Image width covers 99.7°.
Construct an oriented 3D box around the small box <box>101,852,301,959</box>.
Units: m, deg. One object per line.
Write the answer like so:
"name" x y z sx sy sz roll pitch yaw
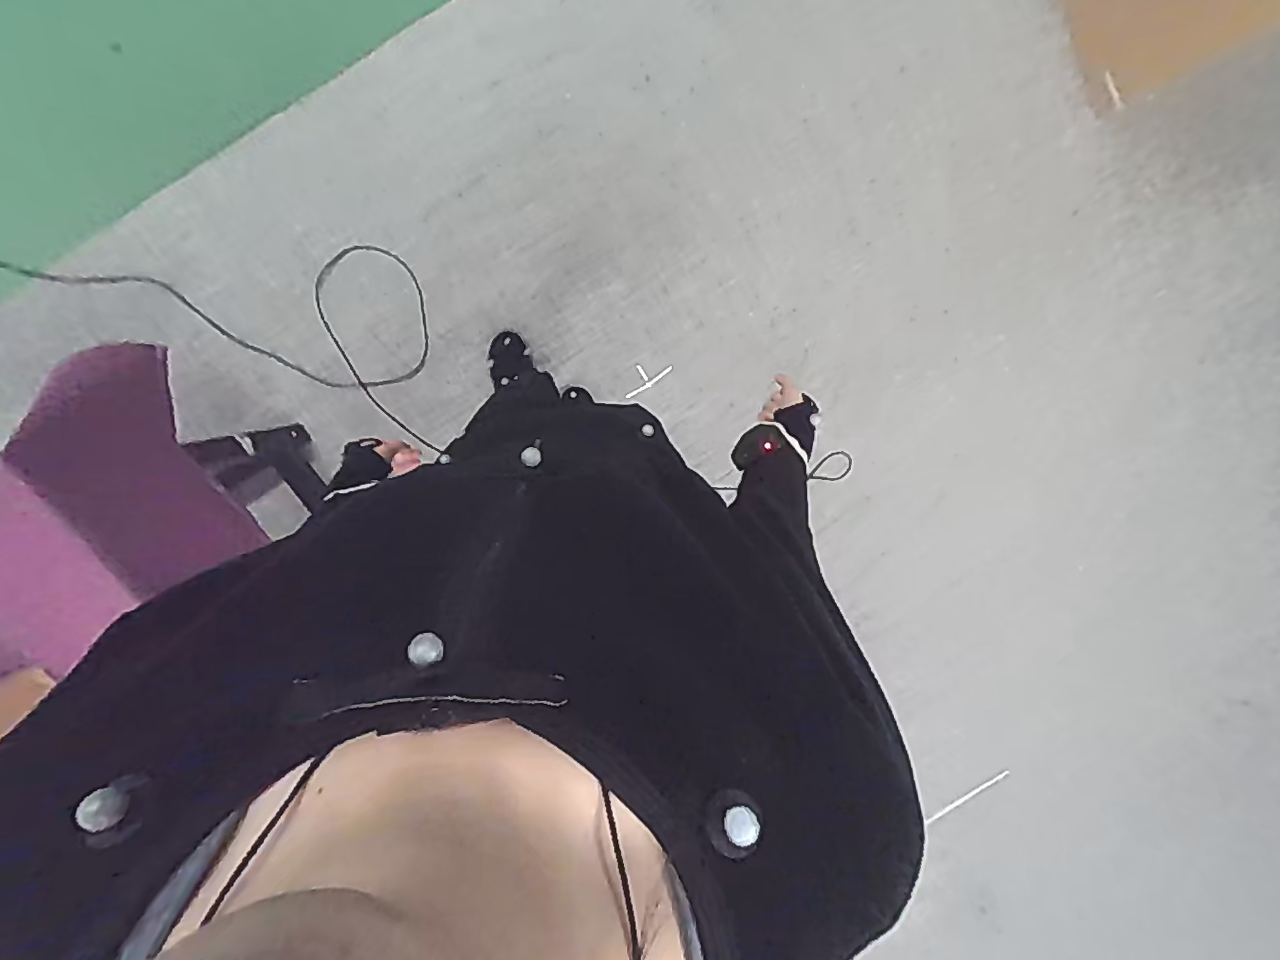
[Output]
"small box" -0.642 0.693 0.776 0.168 0.176 0.179 -36 101 3
